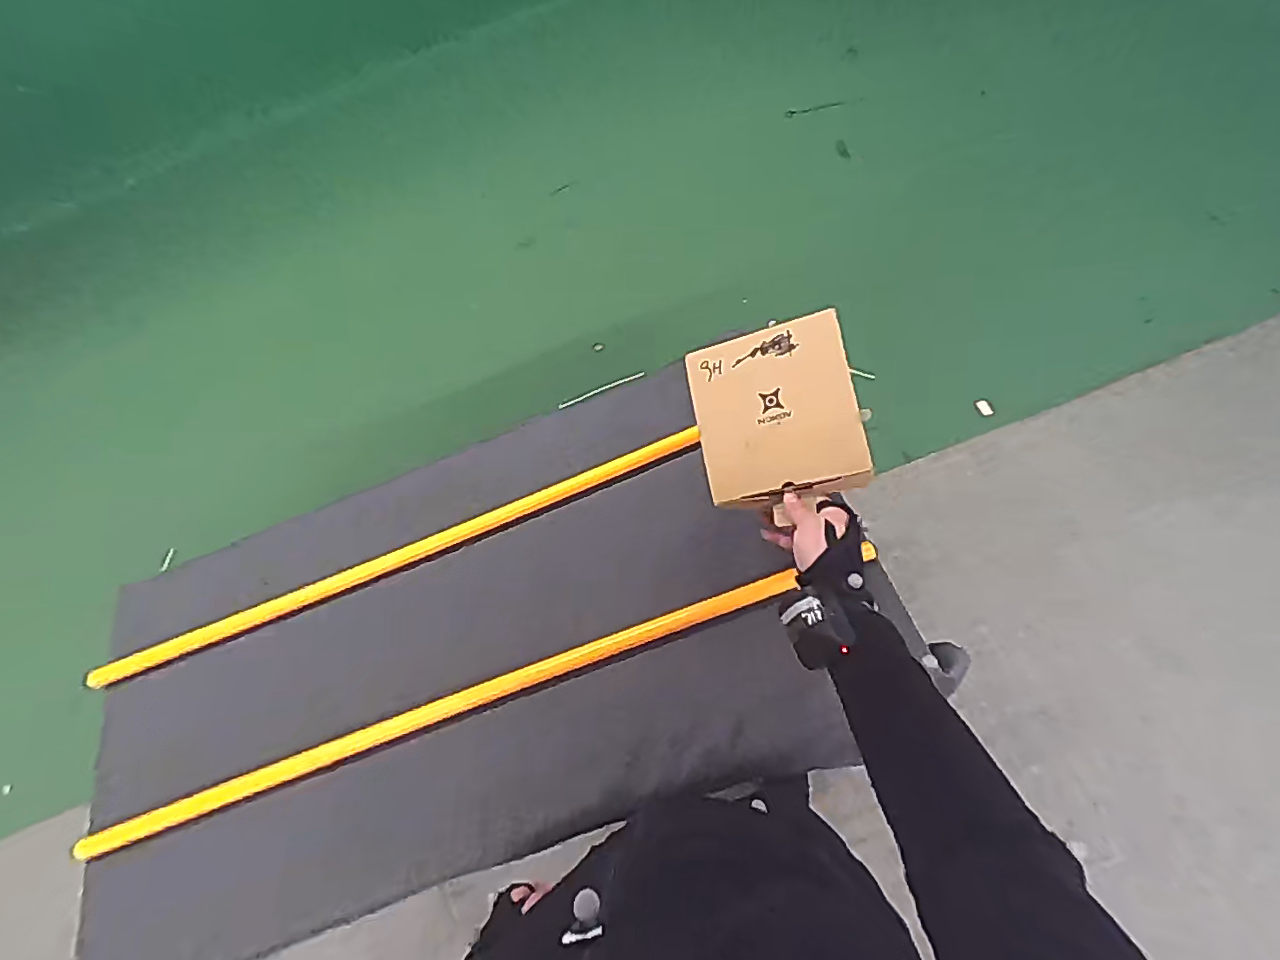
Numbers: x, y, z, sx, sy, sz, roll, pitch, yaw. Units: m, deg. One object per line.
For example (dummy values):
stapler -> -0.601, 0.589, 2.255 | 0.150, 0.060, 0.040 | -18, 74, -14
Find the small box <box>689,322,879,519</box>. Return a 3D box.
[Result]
small box -> 0.179, -0.057, 0.645 | 0.168, 0.176, 0.179 | -16, 80, 23
